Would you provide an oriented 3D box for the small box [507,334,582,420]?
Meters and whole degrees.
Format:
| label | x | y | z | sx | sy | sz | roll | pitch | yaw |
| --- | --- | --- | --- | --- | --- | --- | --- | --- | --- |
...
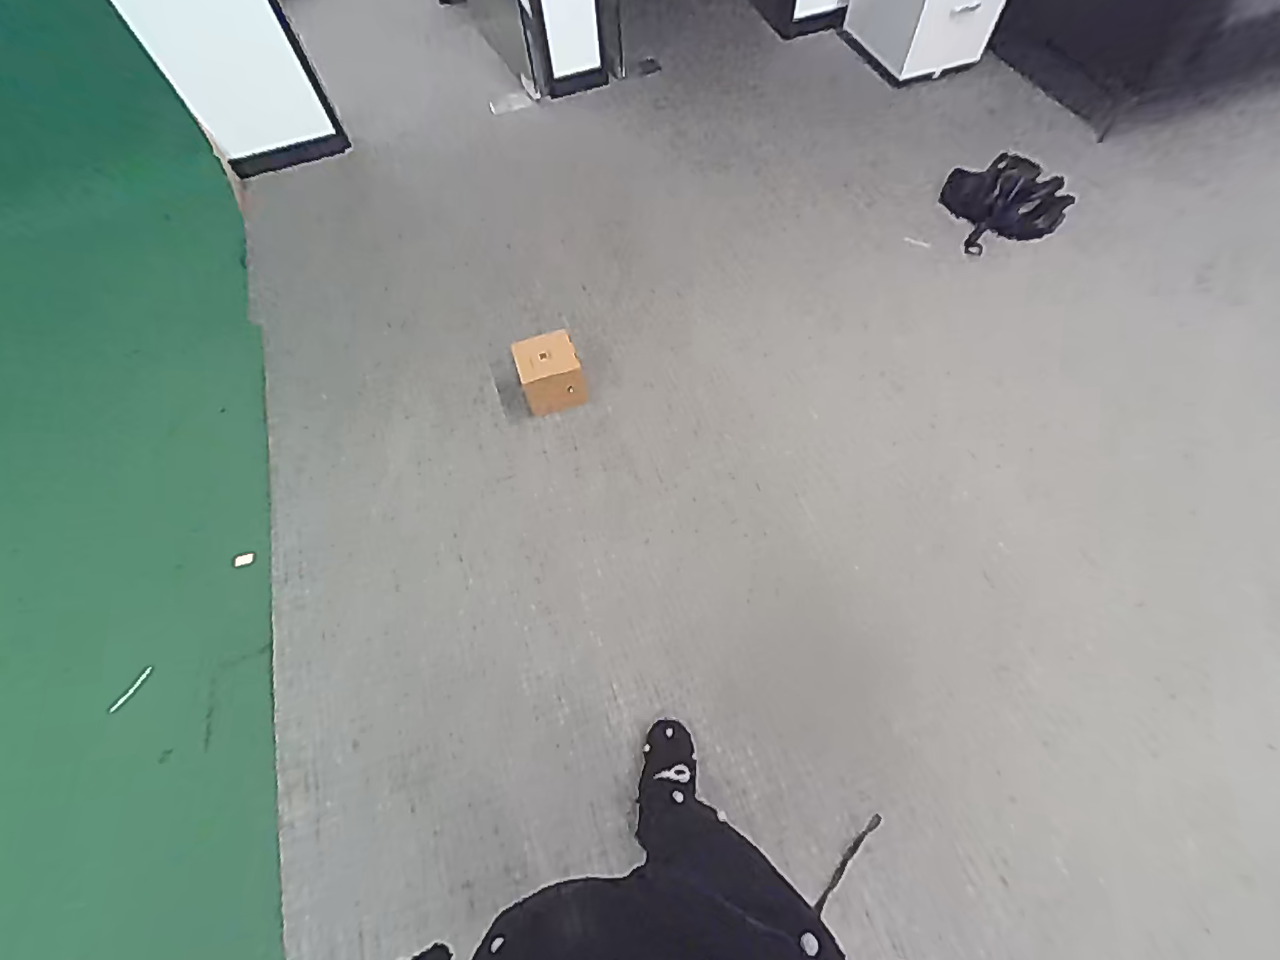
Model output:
| label | x | y | z | sx | sy | sz | roll | pitch | yaw |
| --- | --- | --- | --- | --- | --- | --- | --- | --- | --- |
| small box | -0.285 | -0.311 | 1.653 | 0.179 | 0.176 | 0.168 | -19 | 62 | -6 |
